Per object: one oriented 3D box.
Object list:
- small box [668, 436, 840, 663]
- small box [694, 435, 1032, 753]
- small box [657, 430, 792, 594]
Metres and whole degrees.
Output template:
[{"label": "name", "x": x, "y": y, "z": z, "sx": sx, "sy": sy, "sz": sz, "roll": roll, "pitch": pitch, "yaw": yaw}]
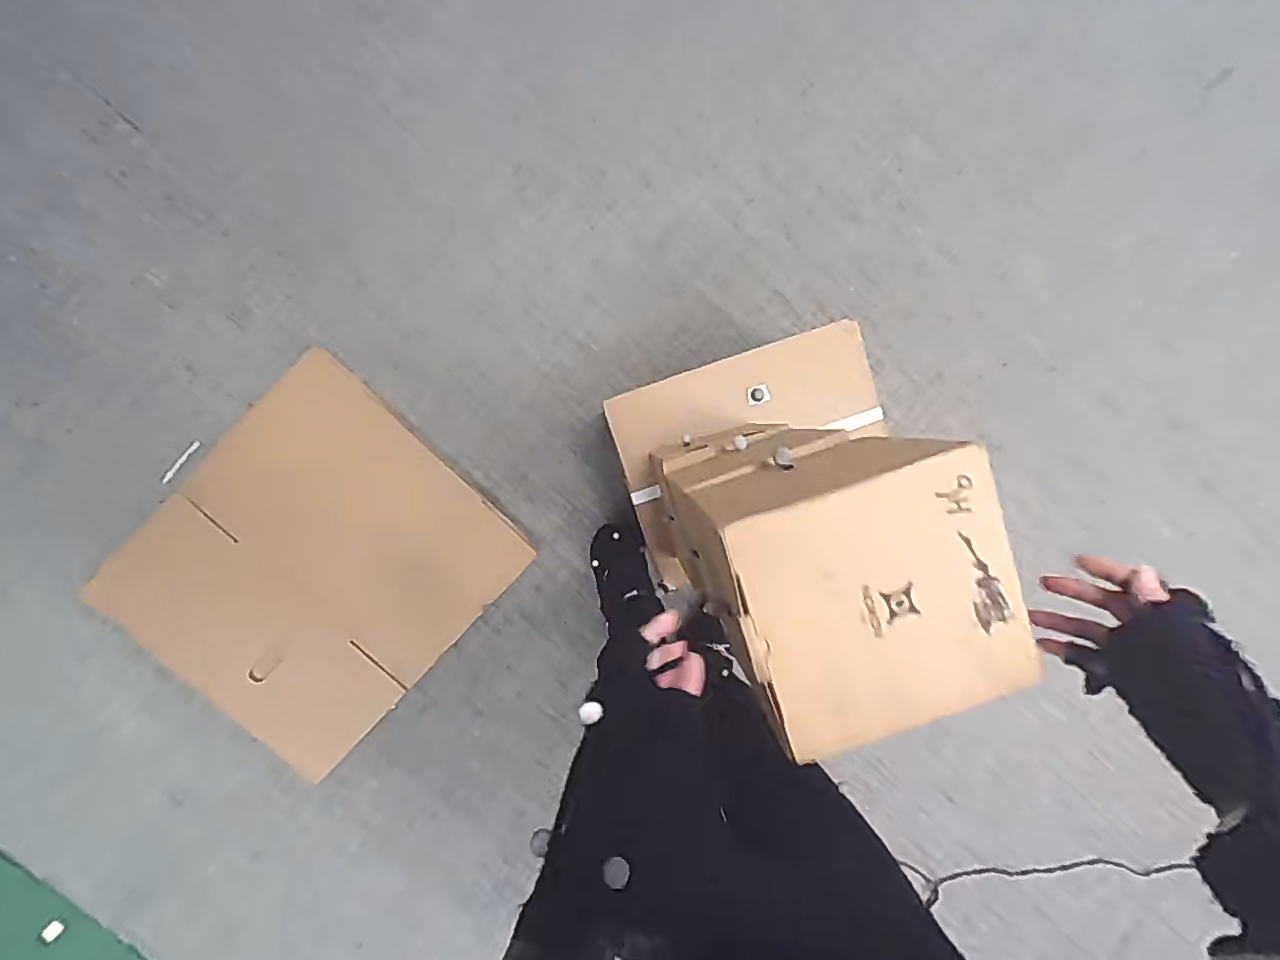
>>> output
[{"label": "small box", "x": 0.141, "y": 0.062, "z": 0.593, "sx": 0.168, "sy": 0.176, "sz": 0.179, "roll": -23, "pitch": 97, "yaw": 0}, {"label": "small box", "x": 0.150, "y": 0.073, "z": 0.433, "sx": 0.179, "sy": 0.176, "sz": 0.168, "roll": -21, "pitch": 94, "yaw": 0}, {"label": "small box", "x": 0.126, "y": 0.034, "z": 0.755, "sx": 0.168, "sy": 0.176, "sz": 0.179, "roll": -16, "pitch": 97, "yaw": 0}]
